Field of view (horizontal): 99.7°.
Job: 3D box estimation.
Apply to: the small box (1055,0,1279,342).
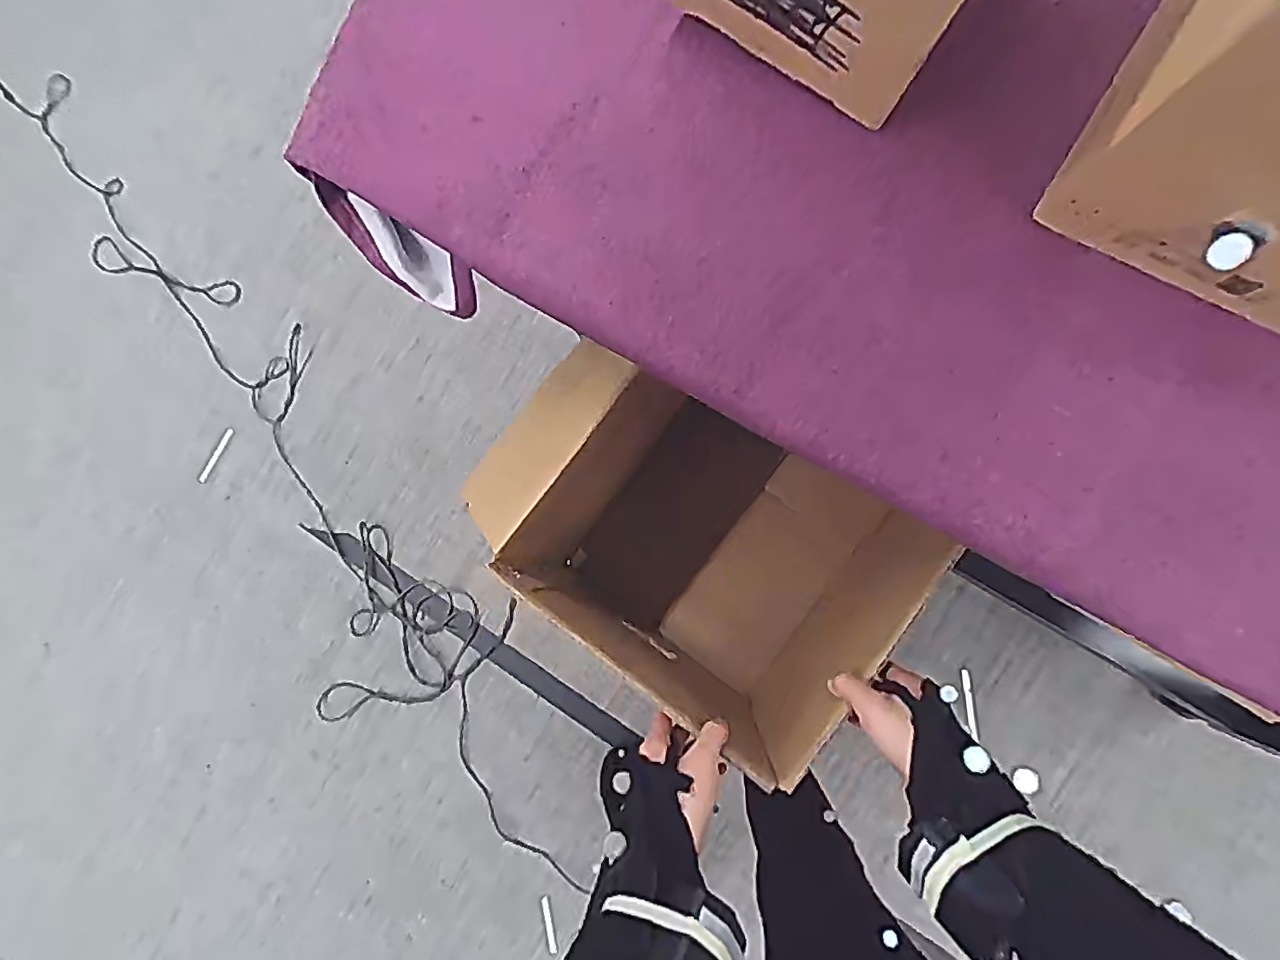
[{"bbox_3d":[0.336,-0.189,0.230,0.168,0.176,0.179,31,92,9],"label":"small box"}]
